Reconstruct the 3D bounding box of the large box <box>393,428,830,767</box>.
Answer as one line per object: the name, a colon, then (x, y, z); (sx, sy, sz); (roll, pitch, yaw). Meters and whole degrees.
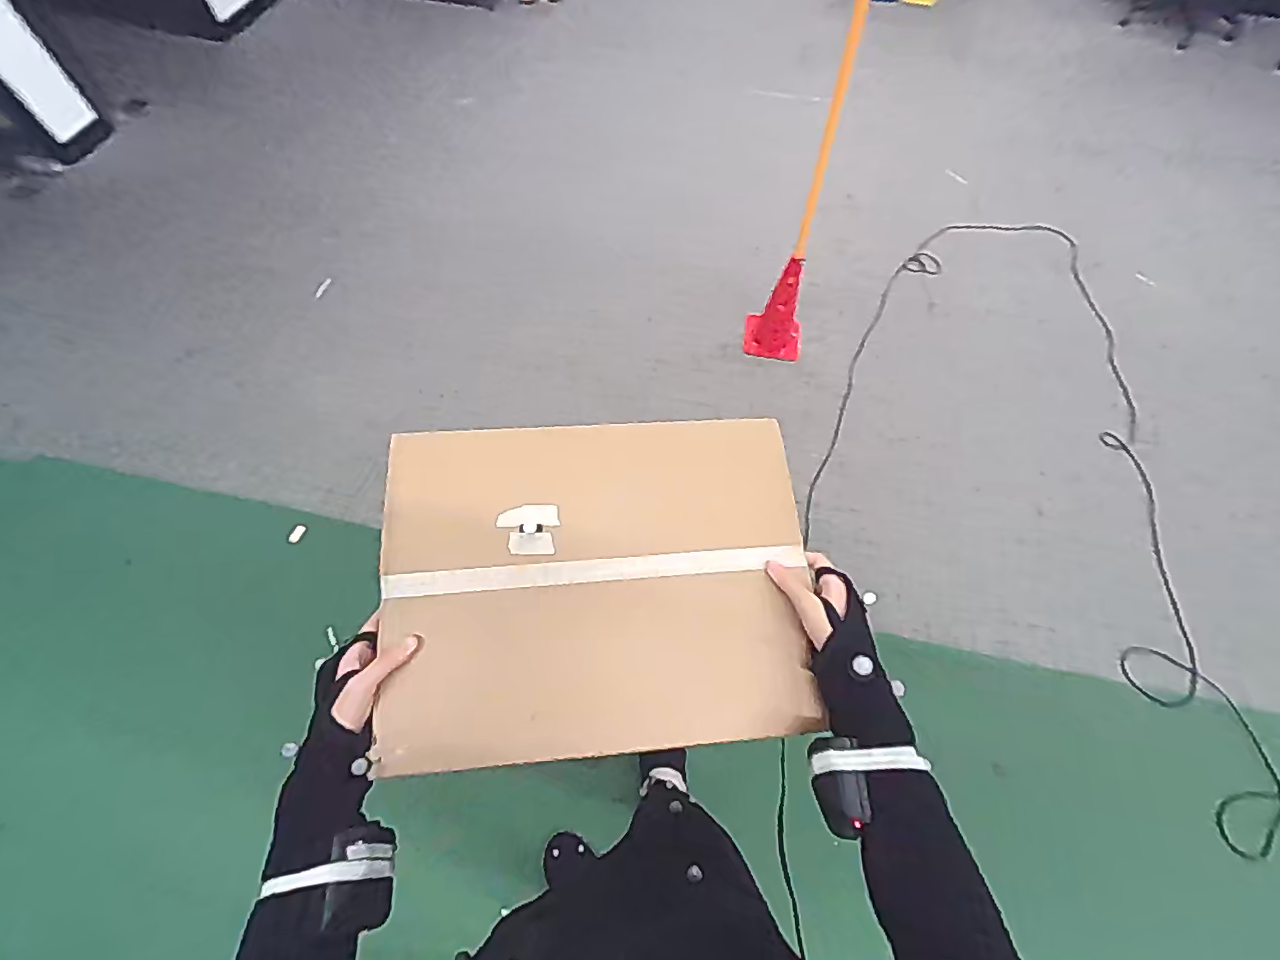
large box: (-0.037, 0.143, 0.673); (0.408, 0.320, 0.320); (-2, 71, -4)
